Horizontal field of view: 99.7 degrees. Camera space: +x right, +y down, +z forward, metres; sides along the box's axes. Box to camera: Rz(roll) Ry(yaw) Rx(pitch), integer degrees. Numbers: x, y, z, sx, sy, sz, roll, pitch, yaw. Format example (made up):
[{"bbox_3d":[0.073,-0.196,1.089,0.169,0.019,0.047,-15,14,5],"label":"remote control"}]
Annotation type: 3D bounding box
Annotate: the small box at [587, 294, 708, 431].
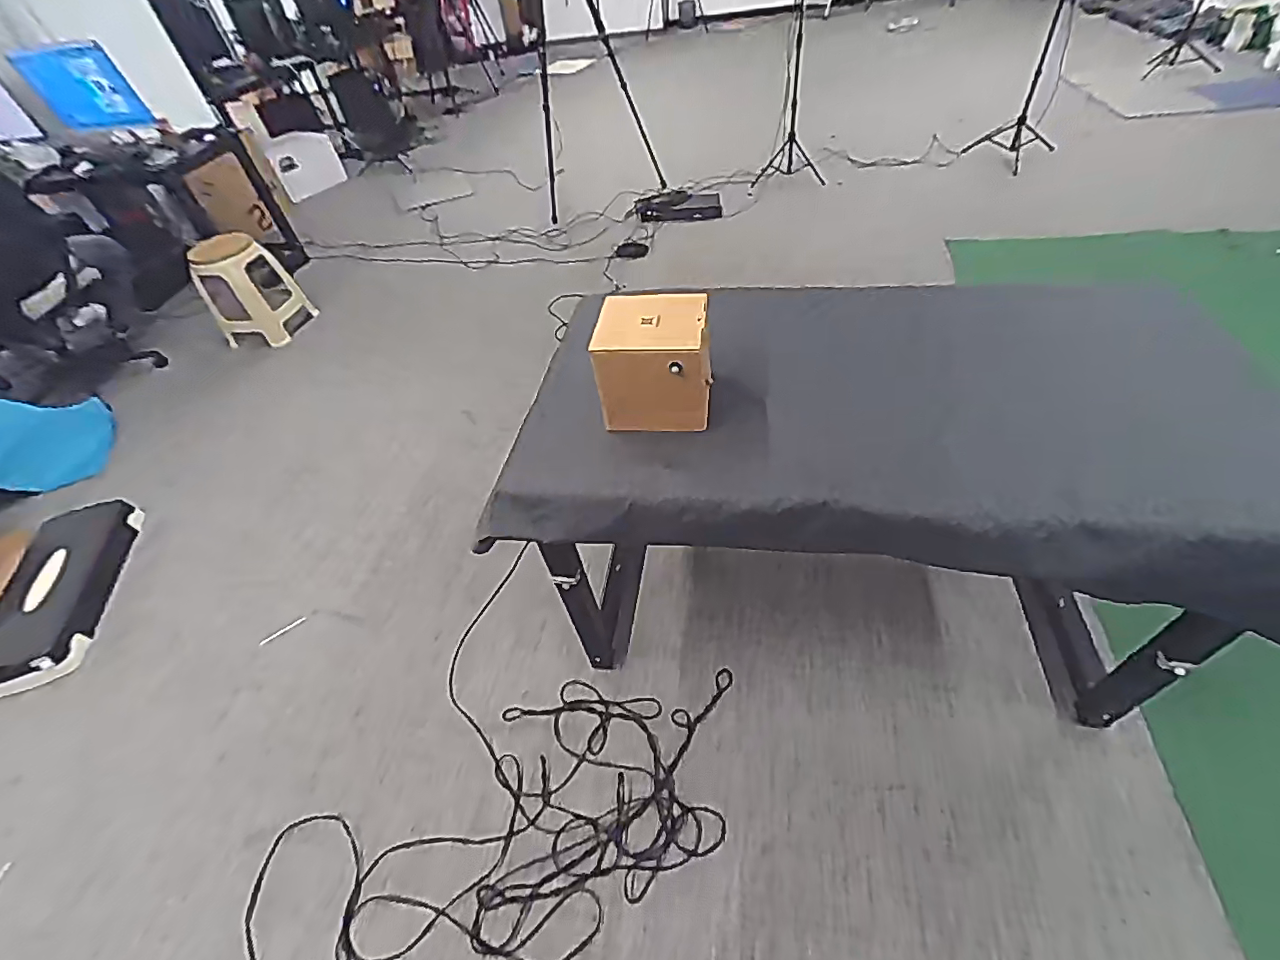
[{"bbox_3d":[0.023,-0.197,0.922,0.179,0.176,0.168,2,47,10],"label":"small box"}]
